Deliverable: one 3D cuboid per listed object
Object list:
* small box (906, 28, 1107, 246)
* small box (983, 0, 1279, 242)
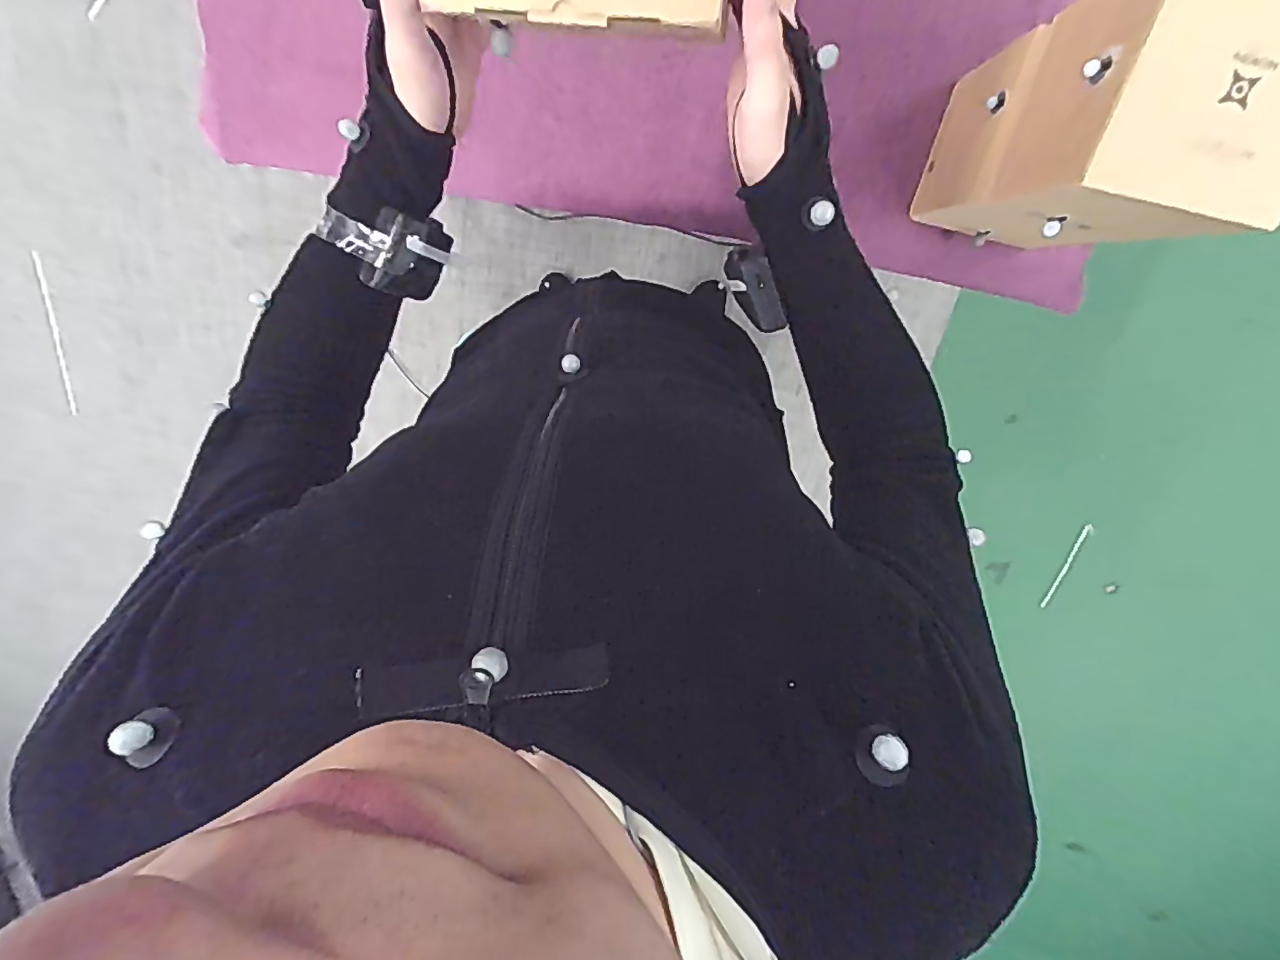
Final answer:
[{"bbox_3d":[0.460,-0.385,0.644,0.179,0.176,0.168,13,110,-3],"label":"small box"},{"bbox_3d":[0.457,-0.330,0.490,0.168,0.176,0.179,13,111,-1],"label":"small box"}]
